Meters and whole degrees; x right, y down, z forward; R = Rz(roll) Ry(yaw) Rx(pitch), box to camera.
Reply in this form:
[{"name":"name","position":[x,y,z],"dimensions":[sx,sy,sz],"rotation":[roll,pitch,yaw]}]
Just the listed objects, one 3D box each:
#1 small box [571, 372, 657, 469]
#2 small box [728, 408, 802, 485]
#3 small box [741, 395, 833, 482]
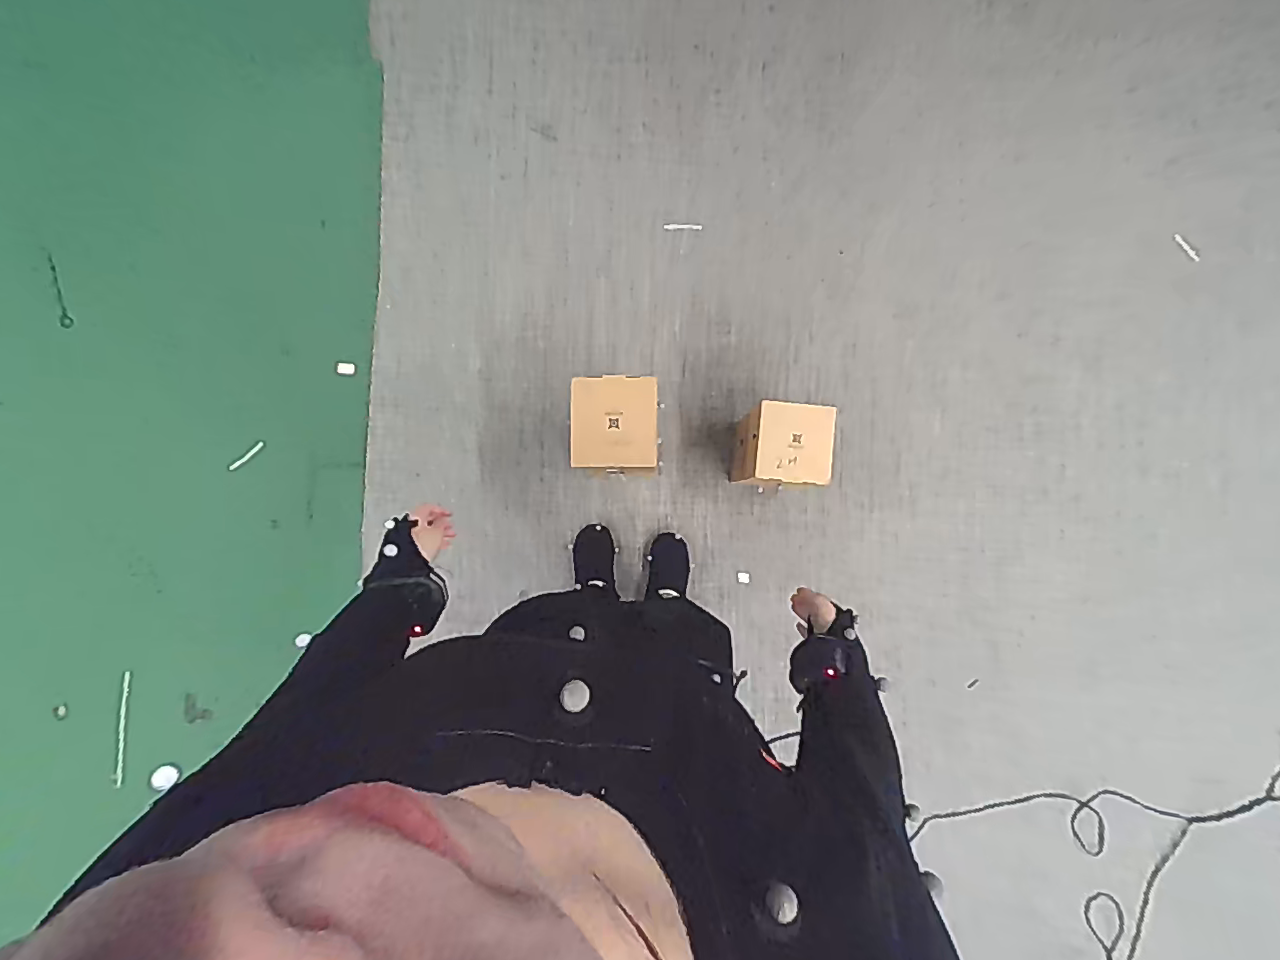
[{"name":"small box","position":[-0.048,-0.115,1.105],"dimensions":[0.168,0.176,0.179],"rotation":[-1,89,2]},{"name":"small box","position":[0.334,-0.083,1.429],"dimensions":[0.168,0.176,0.179],"rotation":[7,89,1]},{"name":"small box","position":[0.336,-0.091,1.264],"dimensions":[0.168,0.176,0.179],"rotation":[5,88,1]}]
